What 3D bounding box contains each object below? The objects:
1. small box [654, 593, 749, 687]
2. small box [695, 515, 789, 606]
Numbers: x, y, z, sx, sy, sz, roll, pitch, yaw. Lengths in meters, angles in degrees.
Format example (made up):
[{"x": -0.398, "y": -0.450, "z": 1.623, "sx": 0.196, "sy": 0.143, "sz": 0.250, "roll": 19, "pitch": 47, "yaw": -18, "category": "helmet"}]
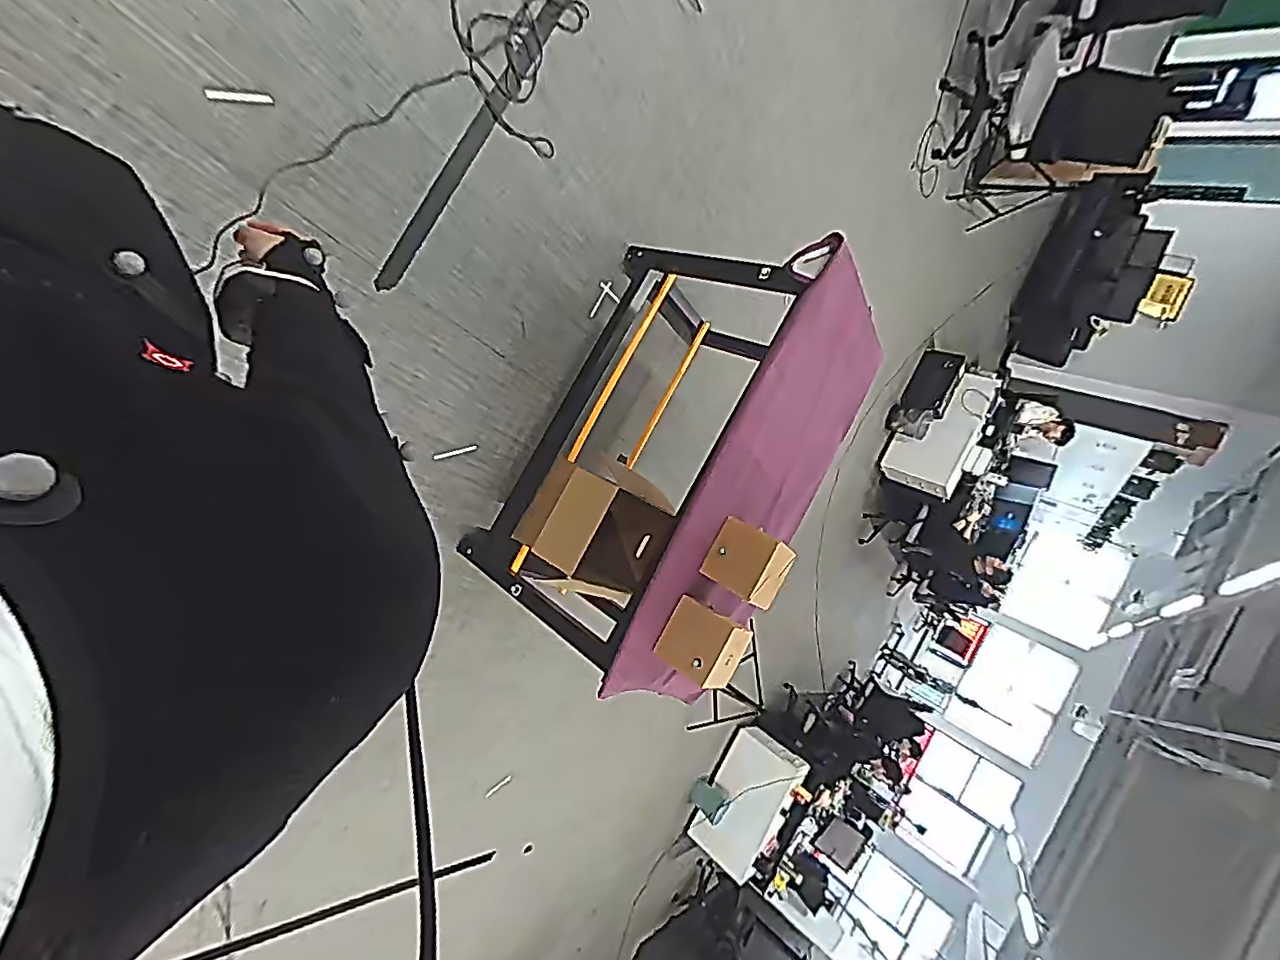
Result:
[{"x": 0.160, "y": 0.432, "z": 1.457, "sx": 0.179, "sy": 0.176, "sz": 0.168, "roll": -61, "pitch": 146, "yaw": -4, "category": "small box"}, {"x": 0.286, "y": 0.222, "z": 1.482, "sx": 0.179, "sy": 0.176, "sz": 0.168, "roll": -61, "pitch": 145, "yaw": -5, "category": "small box"}]
